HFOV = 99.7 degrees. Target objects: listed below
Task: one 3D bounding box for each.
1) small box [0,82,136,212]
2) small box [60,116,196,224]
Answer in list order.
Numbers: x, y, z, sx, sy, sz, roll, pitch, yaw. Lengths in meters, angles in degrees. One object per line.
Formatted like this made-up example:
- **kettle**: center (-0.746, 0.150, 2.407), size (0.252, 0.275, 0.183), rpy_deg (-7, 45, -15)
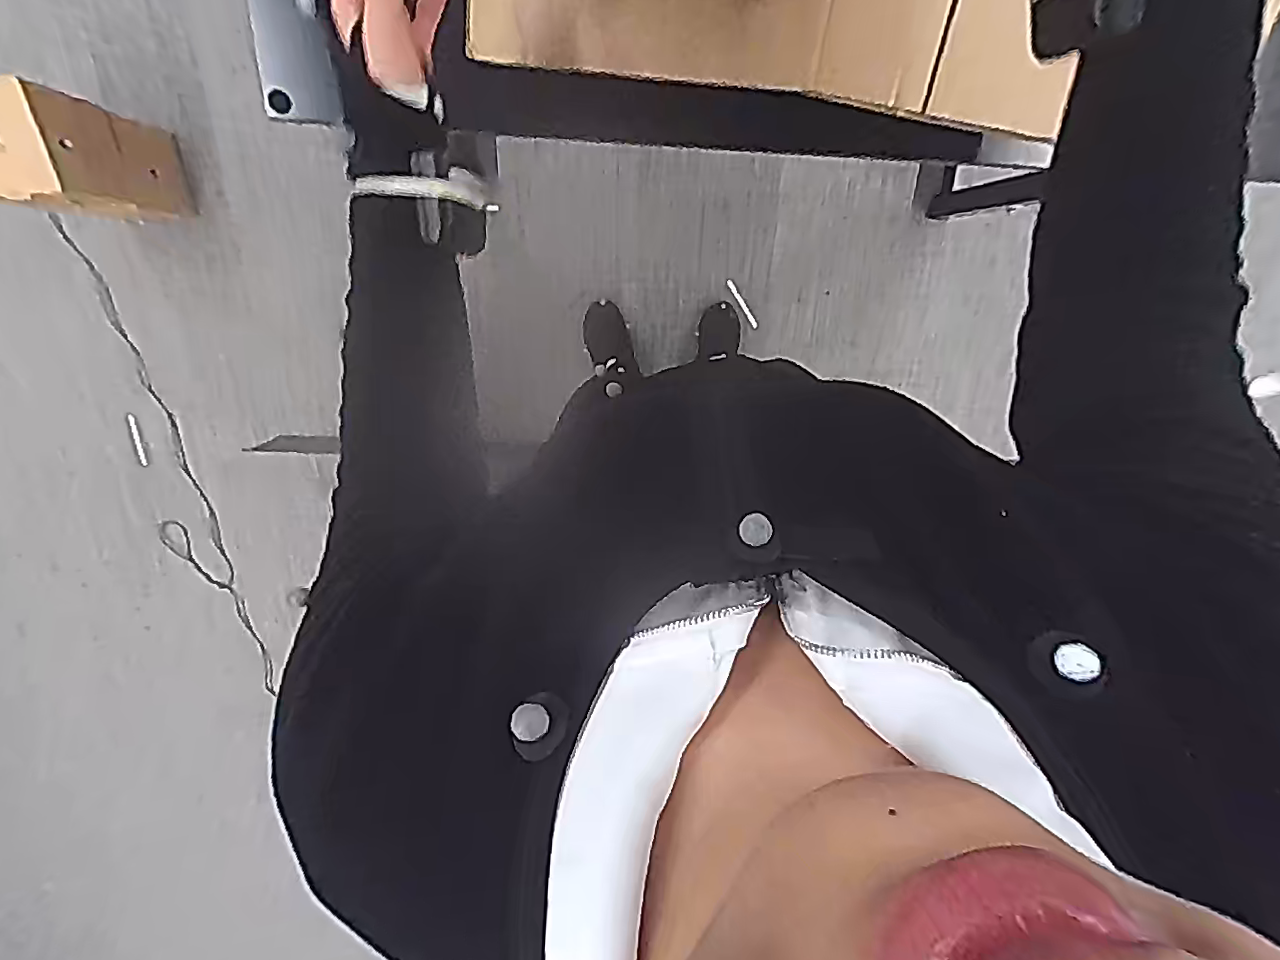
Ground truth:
- **small box**: center (-1.097, -0.598, 0.993), size (0.168, 0.176, 0.179), rpy_deg (-5, 110, -2)
- **small box**: center (-1.103, -0.649, 1.148), size (0.168, 0.176, 0.179), rpy_deg (-2, 111, -2)
